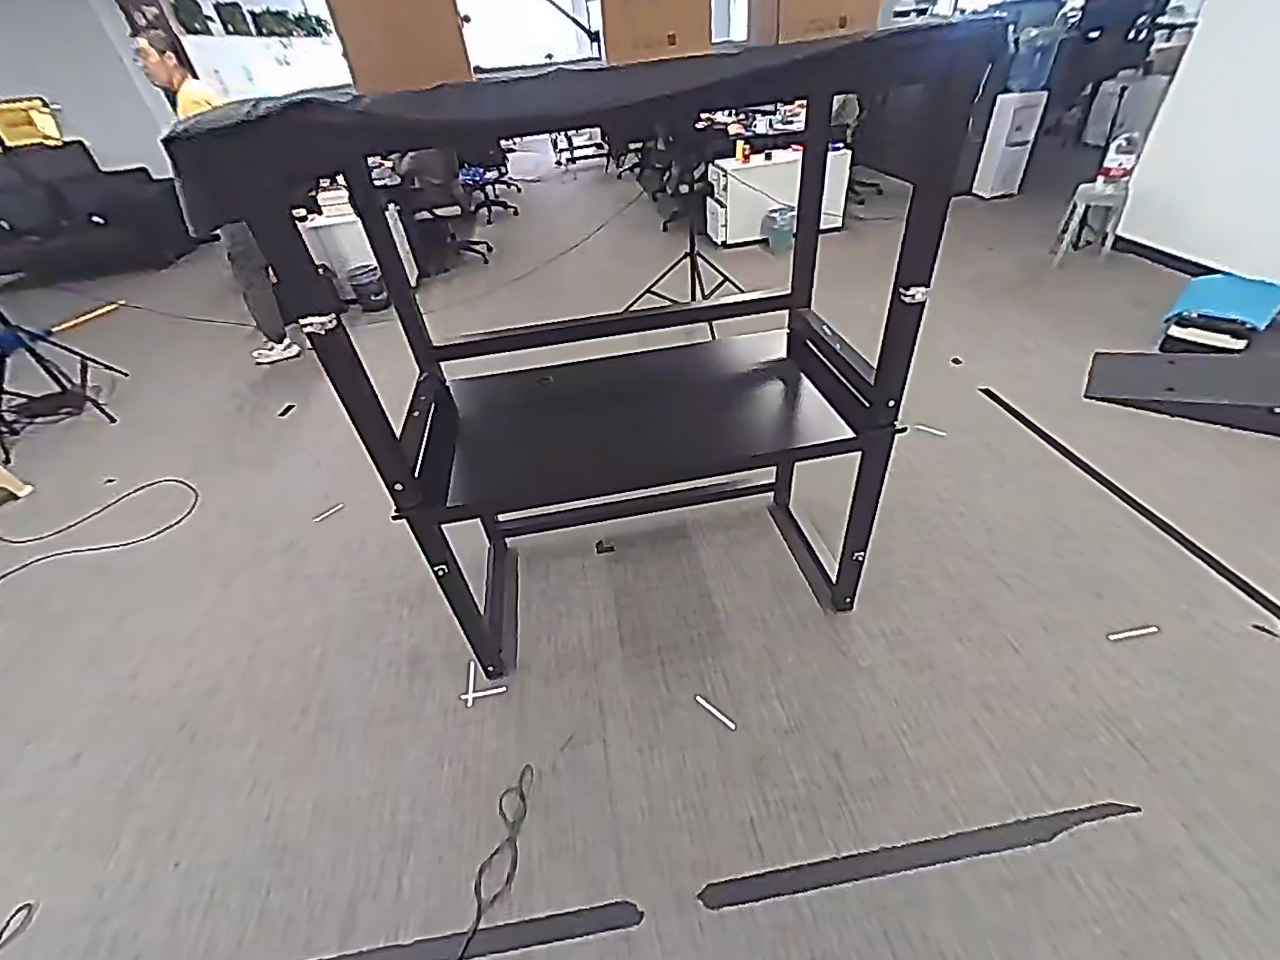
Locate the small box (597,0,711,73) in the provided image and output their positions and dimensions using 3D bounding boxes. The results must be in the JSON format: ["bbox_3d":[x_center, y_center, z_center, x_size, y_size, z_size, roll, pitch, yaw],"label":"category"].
[{"bbox_3d":[0.017,-0.766,0.864,0.168,0.176,0.179,-8,38,-1],"label":"small box"}]

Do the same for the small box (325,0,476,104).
[{"bbox_3d":[-0.356,-0.688,0.821,0.179,0.176,0.168,-13,38,-7],"label":"small box"}]
